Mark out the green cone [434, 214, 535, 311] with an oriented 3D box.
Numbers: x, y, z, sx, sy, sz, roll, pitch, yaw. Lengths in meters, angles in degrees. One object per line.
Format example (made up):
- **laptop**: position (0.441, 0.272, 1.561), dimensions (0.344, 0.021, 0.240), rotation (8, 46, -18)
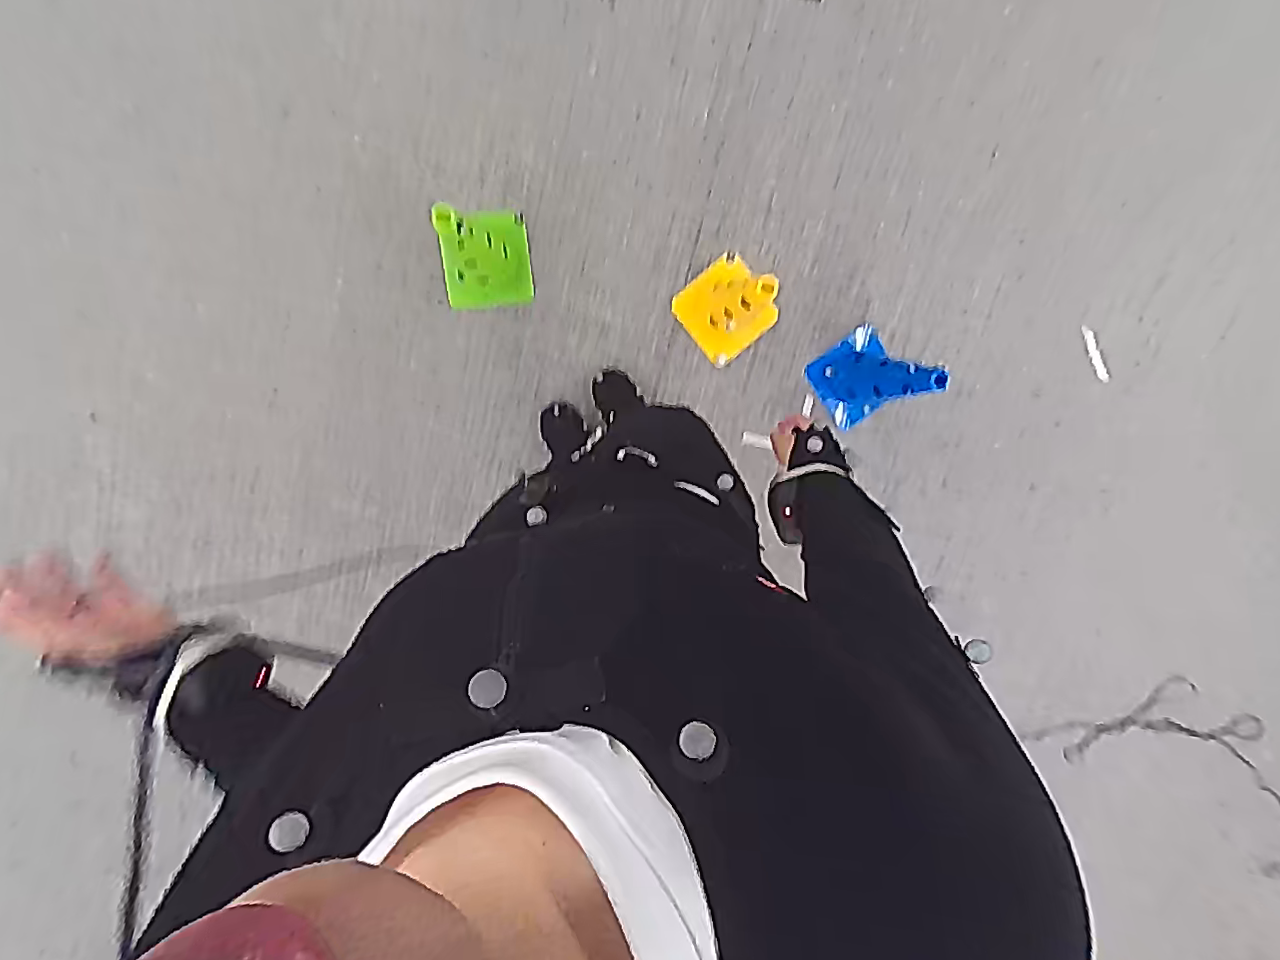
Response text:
- **green cone**: position (-0.345, -0.468, 1.086), dimensions (0.200, 0.368, 0.202), rotation (-7, 102, -2)
